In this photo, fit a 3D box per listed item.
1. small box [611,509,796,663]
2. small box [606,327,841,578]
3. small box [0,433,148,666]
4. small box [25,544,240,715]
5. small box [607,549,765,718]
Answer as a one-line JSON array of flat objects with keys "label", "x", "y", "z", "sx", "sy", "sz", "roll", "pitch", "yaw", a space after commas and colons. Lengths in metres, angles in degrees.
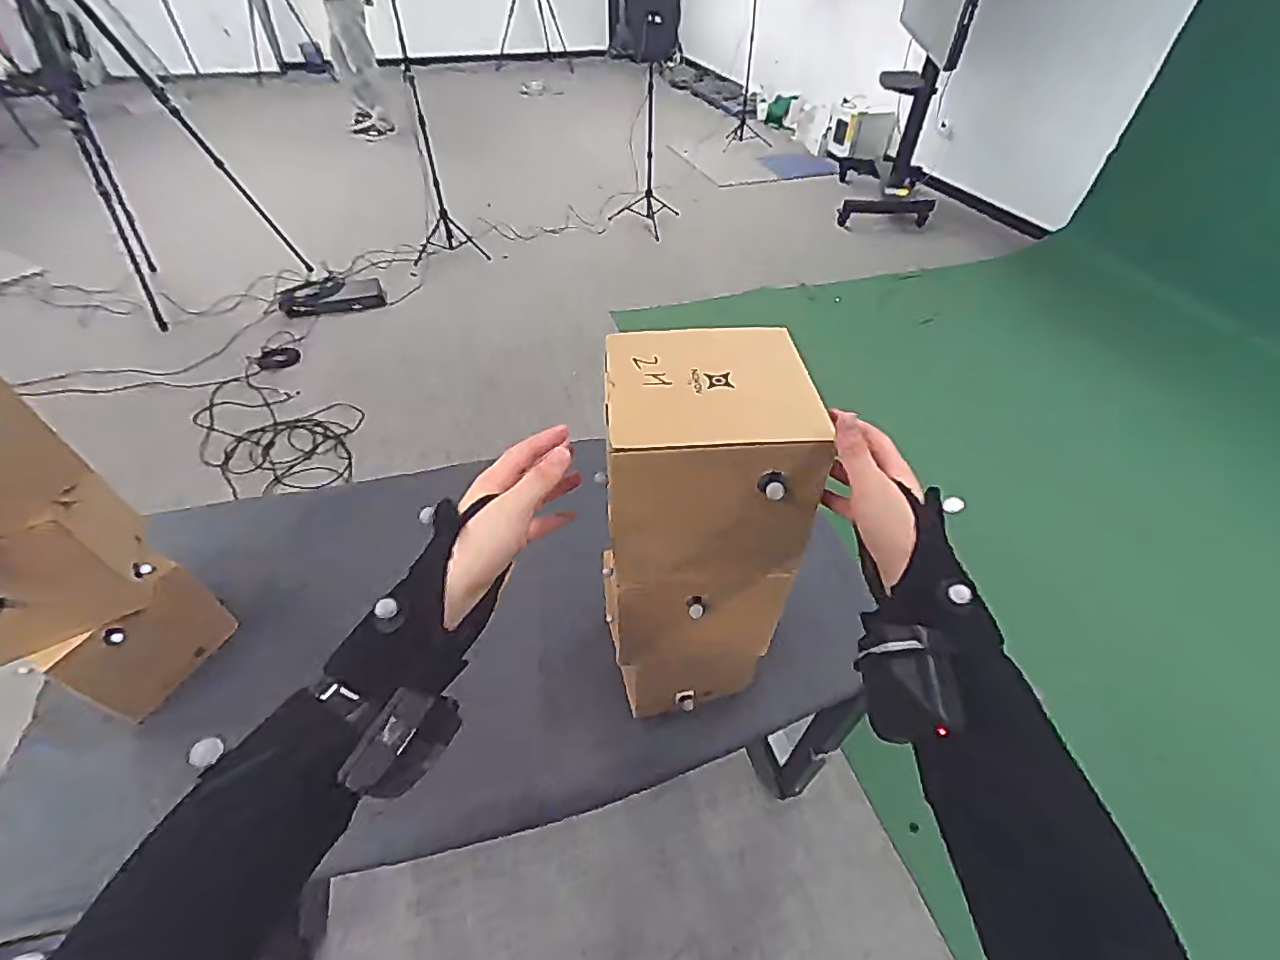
[{"label": "small box", "x": 0.057, "y": 0.093, "z": 0.623, "sx": 0.179, "sy": 0.176, "sz": 0.168, "roll": -4, "pitch": 45, "yaw": -3}, {"label": "small box", "x": 0.060, "y": -0.024, "z": 0.507, "sx": 0.179, "sy": 0.176, "sz": 0.168, "roll": -4, "pitch": 45, "yaw": -1}, {"label": "small box", "x": -0.711, "y": 0.082, "z": 0.619, "sx": 0.179, "sy": 0.176, "sz": 0.168, "roll": -27, "pitch": 53, "yaw": -23}, {"label": "small box", "x": -0.714, "y": 0.192, "z": 0.741, "sx": 0.179, "sy": 0.176, "sz": 0.168, "roll": 18, "pitch": 49, "yaw": 15}, {"label": "small box", "x": 0.053, "y": 0.196, "z": 0.749, "sx": 0.168, "sy": 0.176, "sz": 0.179, "roll": -12, "pitch": 47, "yaw": -10}]
